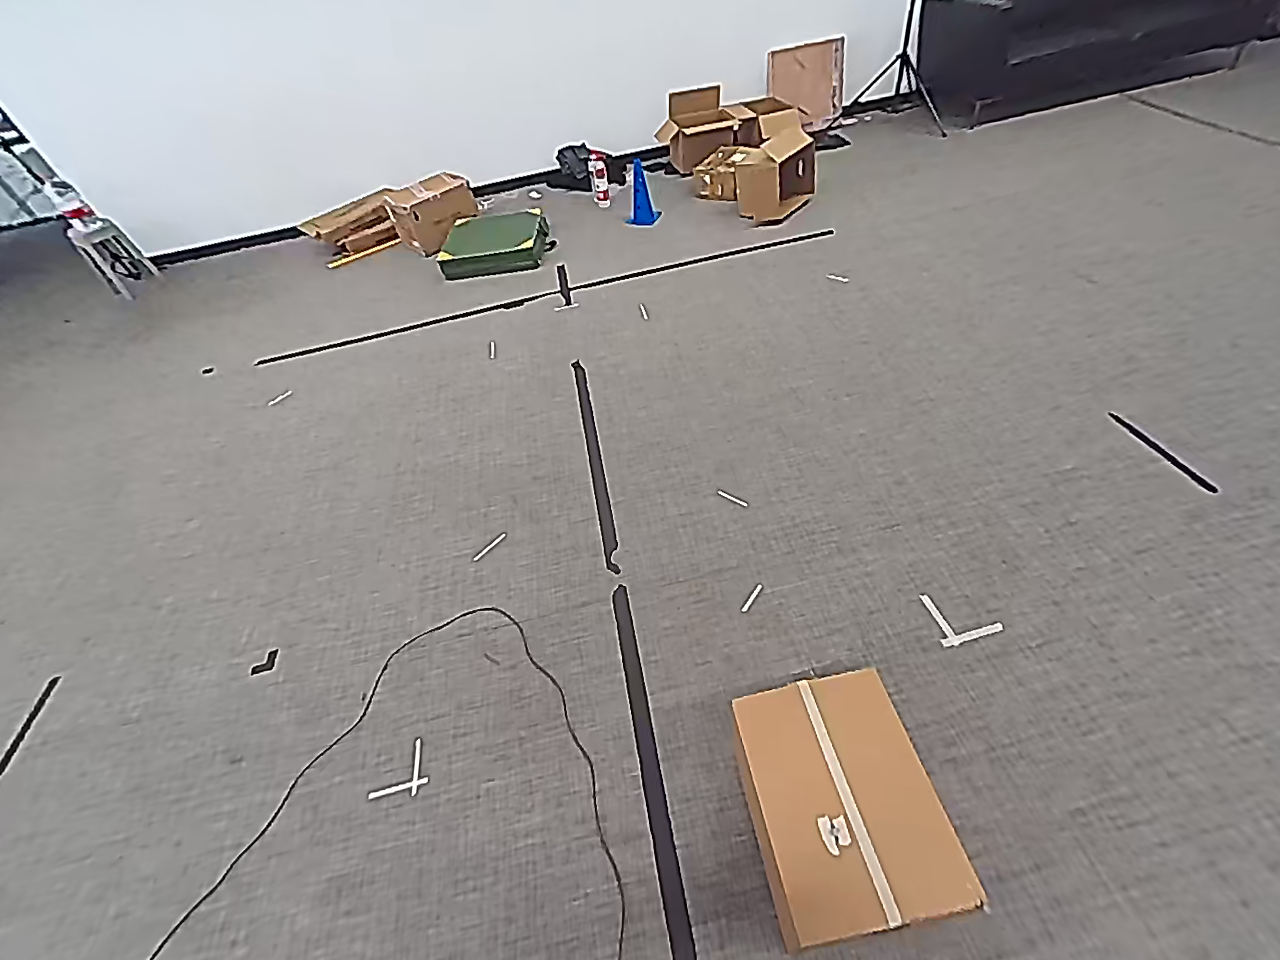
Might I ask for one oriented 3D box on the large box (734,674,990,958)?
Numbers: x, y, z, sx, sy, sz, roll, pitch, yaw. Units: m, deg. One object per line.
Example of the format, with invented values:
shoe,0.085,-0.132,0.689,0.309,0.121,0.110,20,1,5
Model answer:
large box,0.398,0.678,1.106,0.320,0.320,0.408,-13,47,-1
